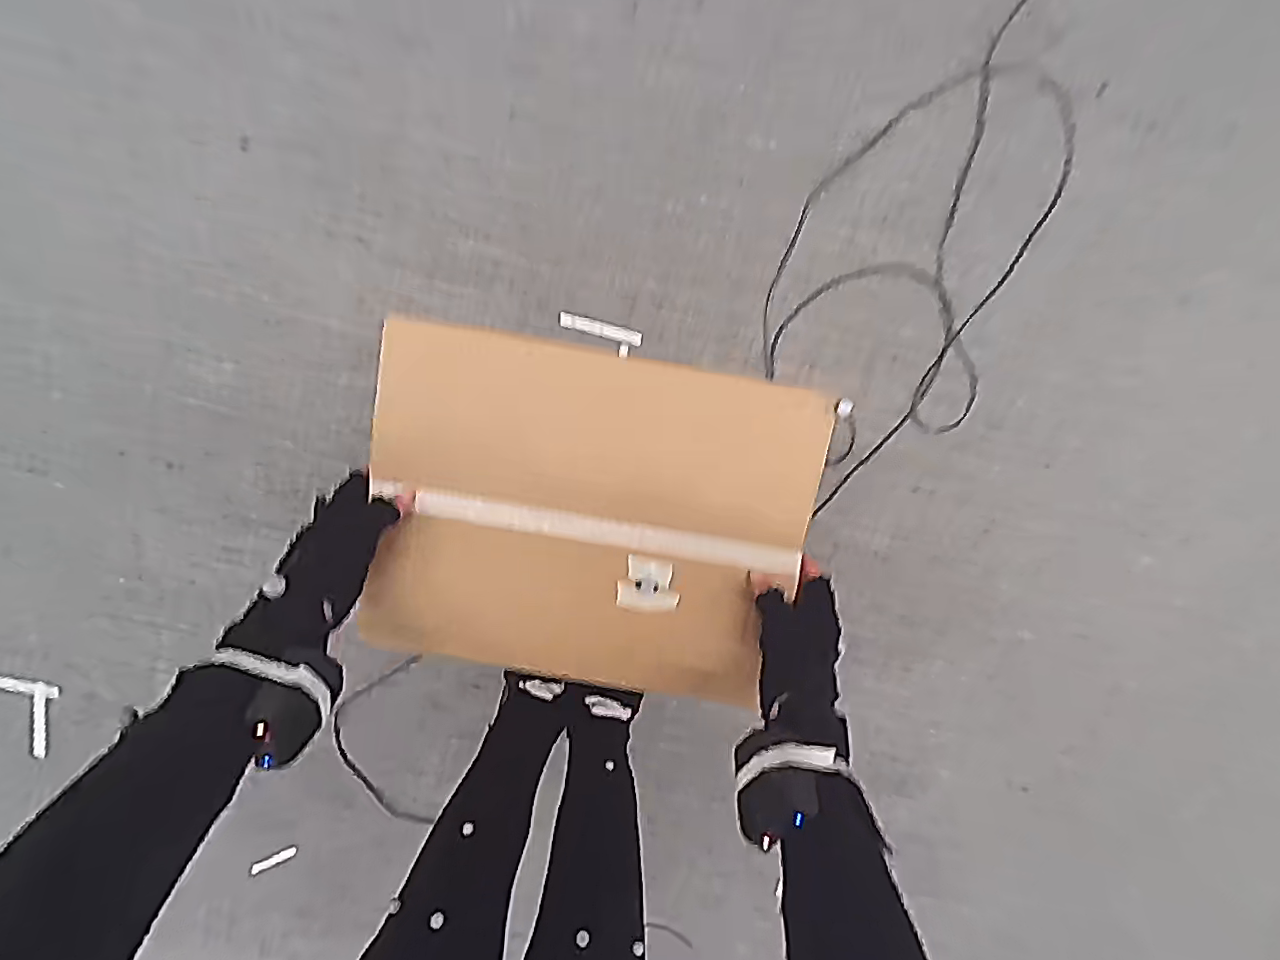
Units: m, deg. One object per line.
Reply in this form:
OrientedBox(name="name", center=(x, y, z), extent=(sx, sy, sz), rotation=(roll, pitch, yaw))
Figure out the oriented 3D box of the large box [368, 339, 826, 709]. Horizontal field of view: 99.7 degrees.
OrientedBox(name="large box", center=(-0.050, 0.027, 0.656), extent=(0.408, 0.320, 0.320), rotation=(10, 101, -1))
